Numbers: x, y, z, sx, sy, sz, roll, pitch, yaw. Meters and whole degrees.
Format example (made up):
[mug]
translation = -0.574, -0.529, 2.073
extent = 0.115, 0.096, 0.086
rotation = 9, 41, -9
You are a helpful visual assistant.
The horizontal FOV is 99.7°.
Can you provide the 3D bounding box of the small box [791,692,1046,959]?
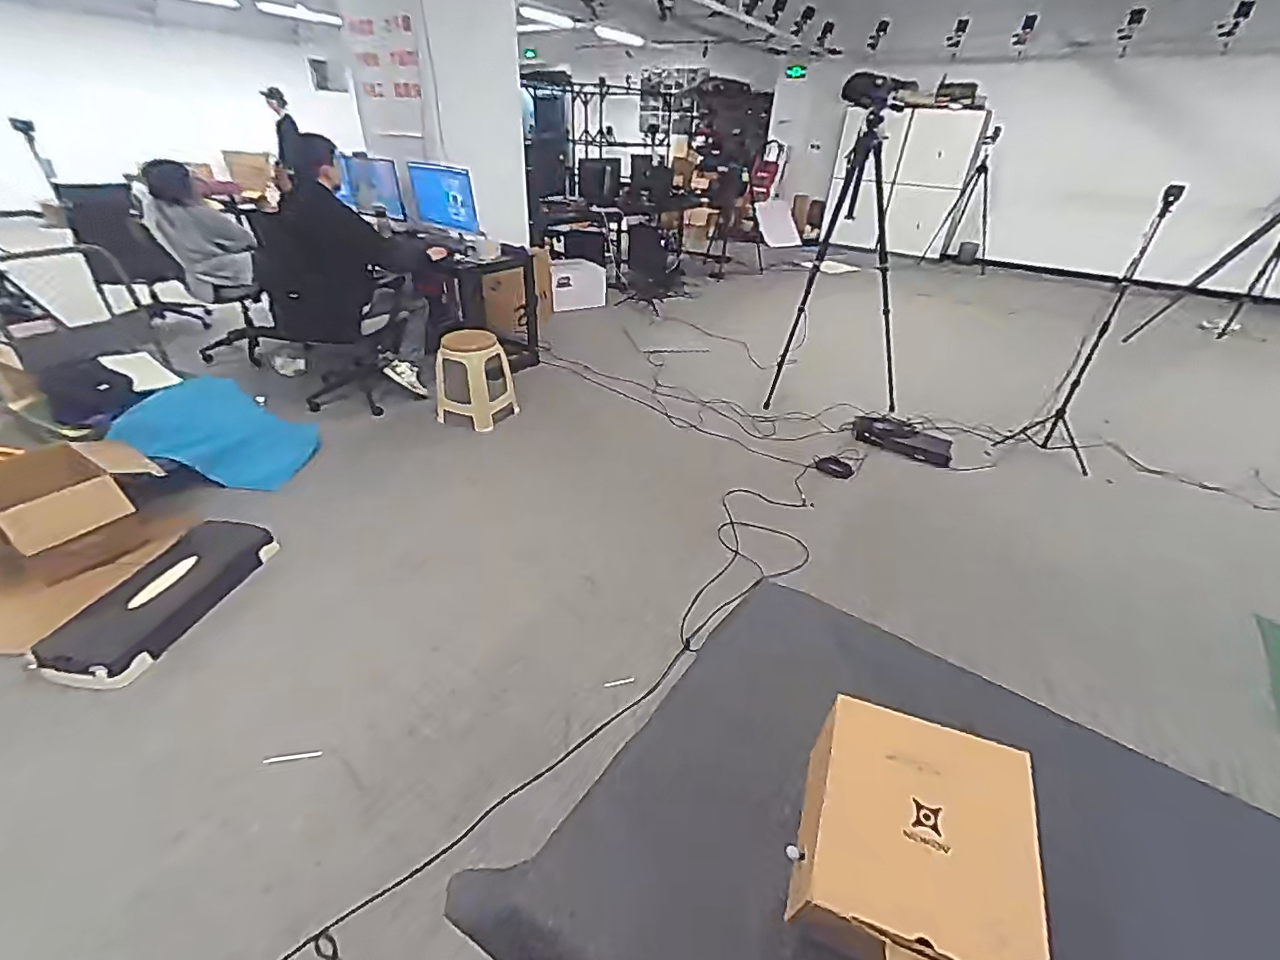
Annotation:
[small box]
translation = 0.245, 0.340, 0.508
extent = 0.168, 0.176, 0.179
rotation = 13, 47, 17
